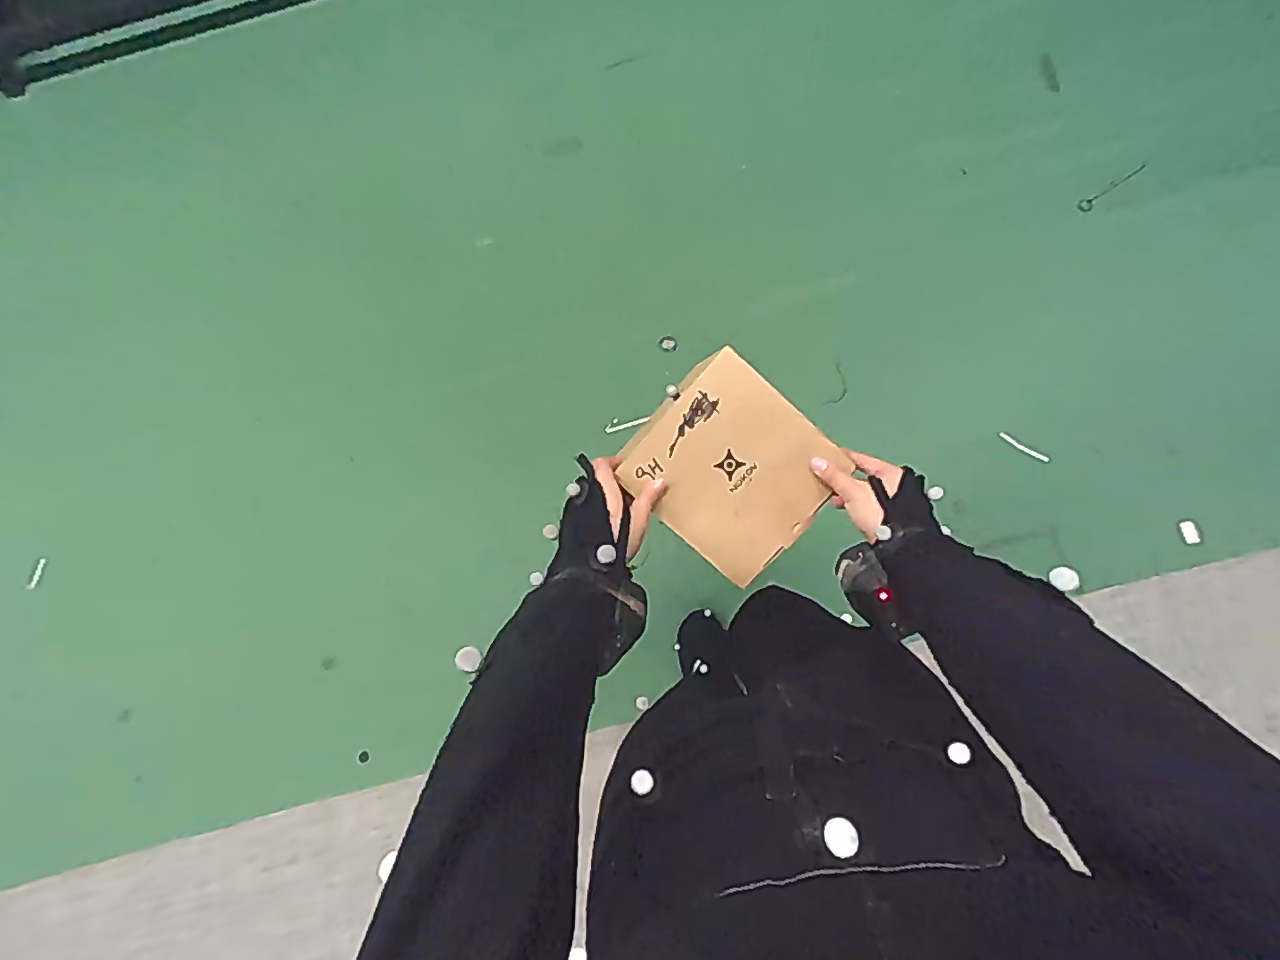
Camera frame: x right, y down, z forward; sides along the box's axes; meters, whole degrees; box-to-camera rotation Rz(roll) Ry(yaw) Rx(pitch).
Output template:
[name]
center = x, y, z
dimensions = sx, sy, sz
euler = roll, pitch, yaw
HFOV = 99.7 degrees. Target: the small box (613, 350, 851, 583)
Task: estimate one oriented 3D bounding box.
[small box]
center = 0.089, -0.021, 0.603
dimensions = 0.179, 0.176, 0.168
euler = 41, 94, -6
